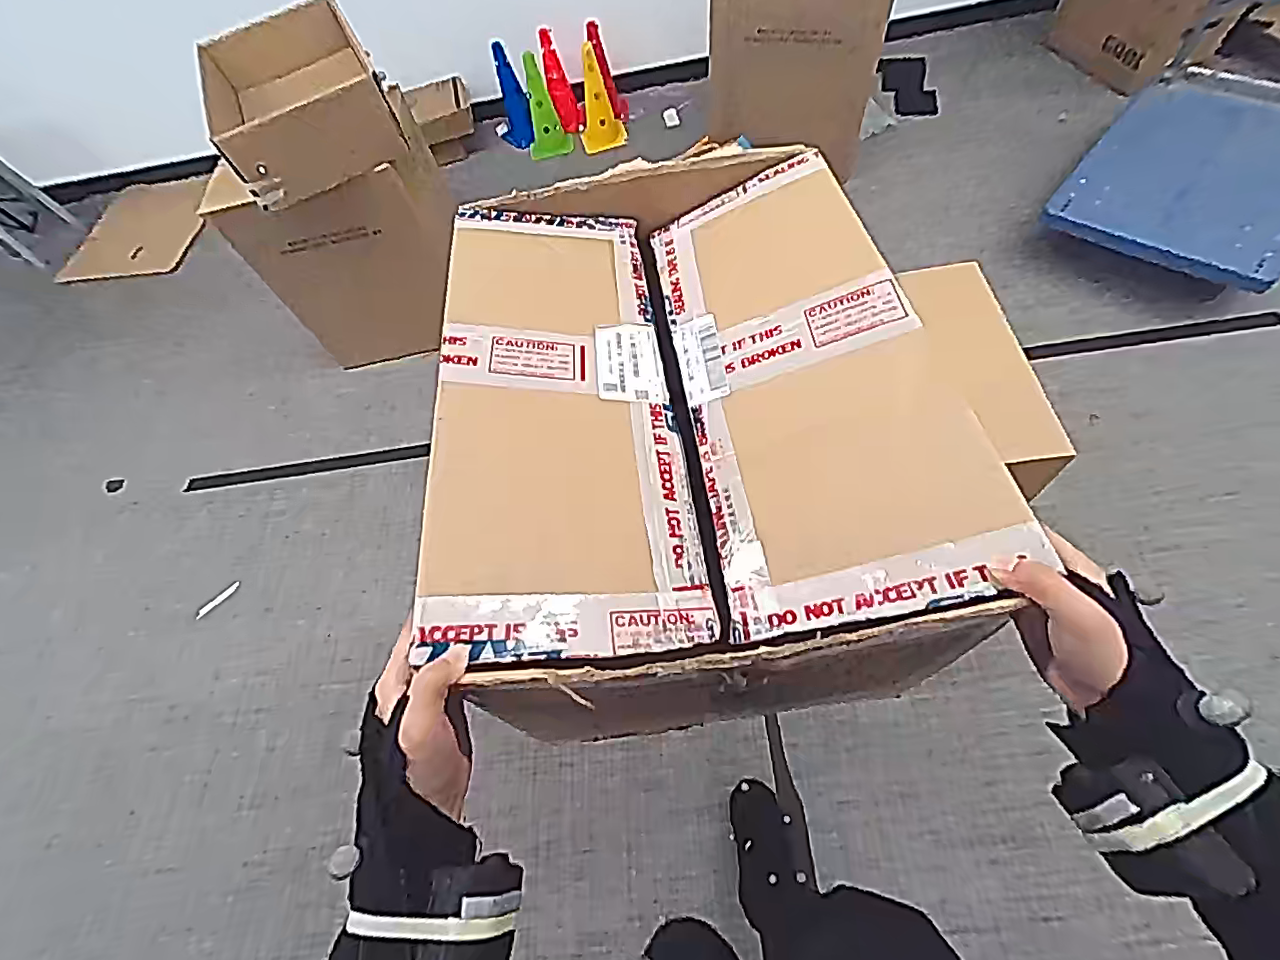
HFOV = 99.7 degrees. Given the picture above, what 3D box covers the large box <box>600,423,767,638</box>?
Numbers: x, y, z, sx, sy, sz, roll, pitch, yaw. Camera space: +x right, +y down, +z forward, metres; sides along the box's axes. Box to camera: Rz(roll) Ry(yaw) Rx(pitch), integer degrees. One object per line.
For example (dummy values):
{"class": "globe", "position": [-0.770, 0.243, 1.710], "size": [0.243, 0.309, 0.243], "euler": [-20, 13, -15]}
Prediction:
{"class": "large box", "position": [0.096, 0.130, 1.296], "size": [0.320, 0.320, 0.408], "euler": [-9, 61, 4]}
